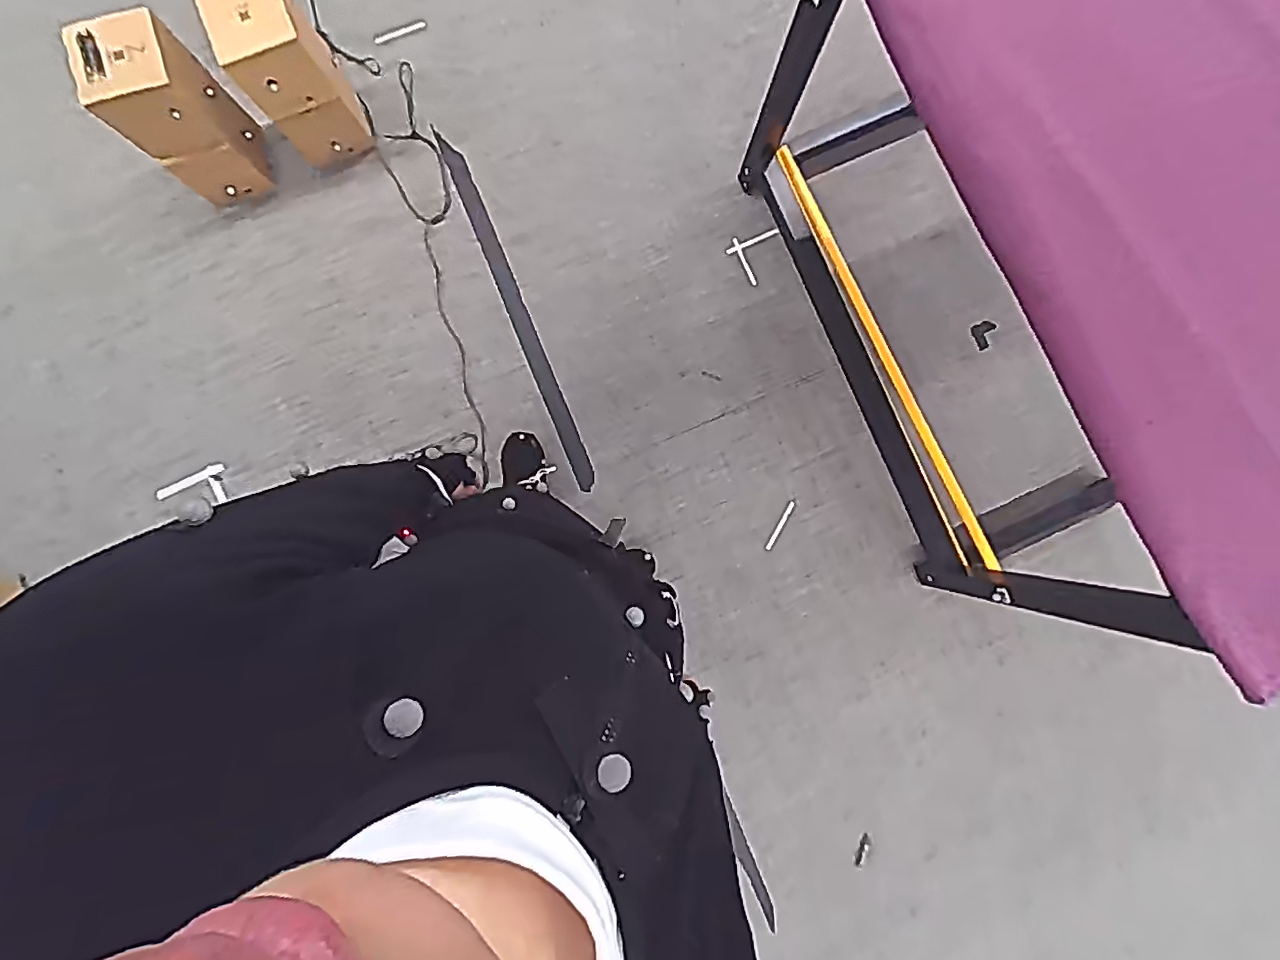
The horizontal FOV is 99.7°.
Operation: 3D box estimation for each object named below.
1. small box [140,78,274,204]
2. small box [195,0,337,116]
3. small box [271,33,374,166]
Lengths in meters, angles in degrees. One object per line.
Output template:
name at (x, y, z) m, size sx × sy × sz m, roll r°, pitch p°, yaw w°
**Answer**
small box at (-1.026, -0.804, 1.295) m, size 0.168 × 0.176 × 0.179 m, roll -16°, pitch 89°, yaw -3°
small box at (-0.783, -0.918, 1.147) m, size 0.168 × 0.176 × 0.179 m, roll -22°, pitch 87°, yaw -2°
small box at (-0.784, -0.911, 1.309) m, size 0.168 × 0.176 × 0.179 m, roll -22°, pitch 88°, yaw -1°
